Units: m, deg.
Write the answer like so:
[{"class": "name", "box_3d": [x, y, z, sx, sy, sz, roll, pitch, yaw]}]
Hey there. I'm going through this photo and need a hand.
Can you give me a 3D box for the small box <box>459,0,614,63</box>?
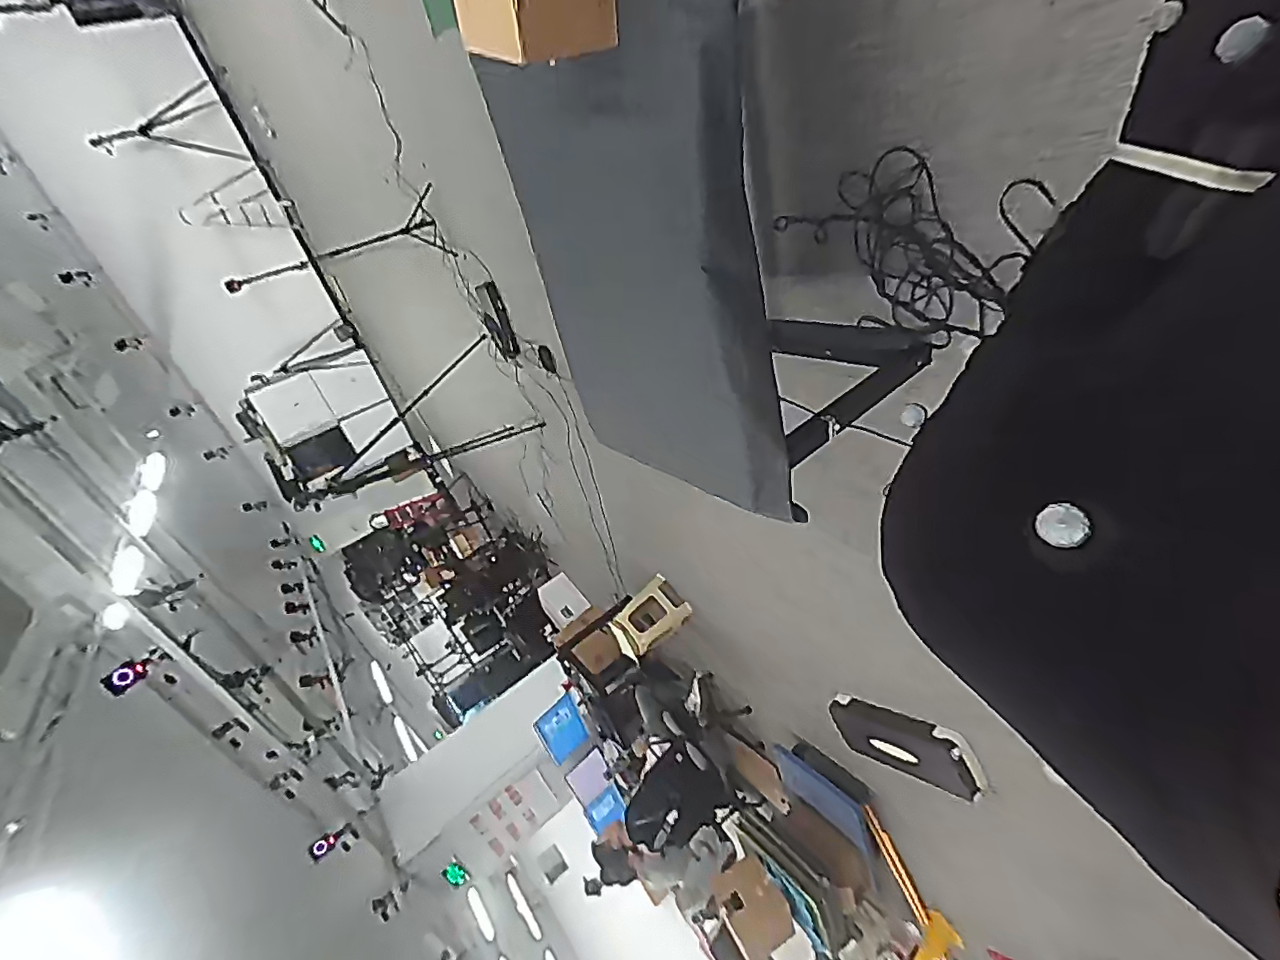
[{"class": "small box", "box_3d": [-0.147, -0.707, 0.754, 0.179, 0.176, 0.168, 41, 150, 34]}]
